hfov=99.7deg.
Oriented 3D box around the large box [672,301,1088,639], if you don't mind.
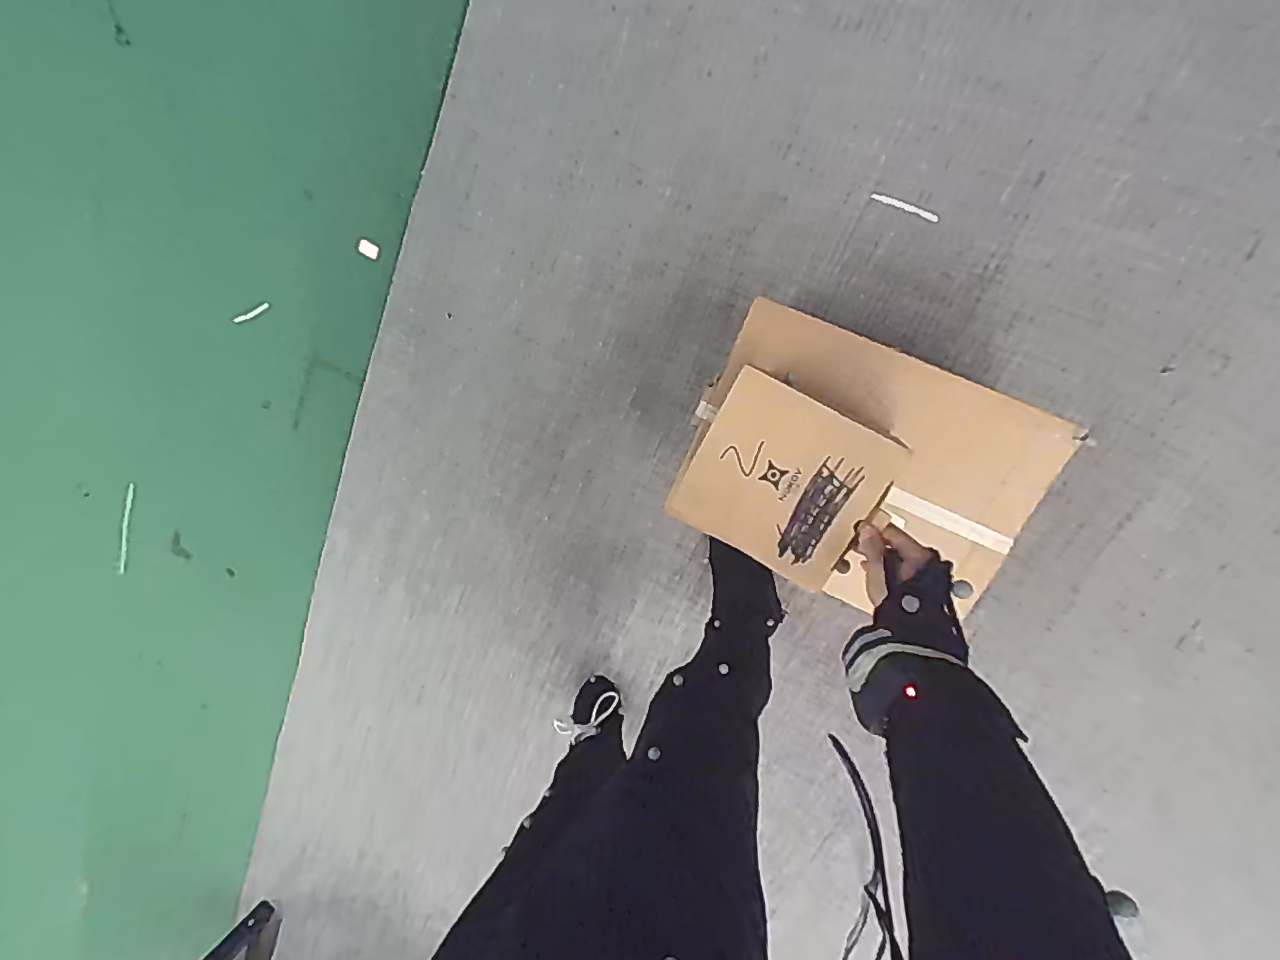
[{"bbox_3d":[0.310,-0.039,0.820,0.408,0.320,0.320,26,108,9],"label":"large box"}]
